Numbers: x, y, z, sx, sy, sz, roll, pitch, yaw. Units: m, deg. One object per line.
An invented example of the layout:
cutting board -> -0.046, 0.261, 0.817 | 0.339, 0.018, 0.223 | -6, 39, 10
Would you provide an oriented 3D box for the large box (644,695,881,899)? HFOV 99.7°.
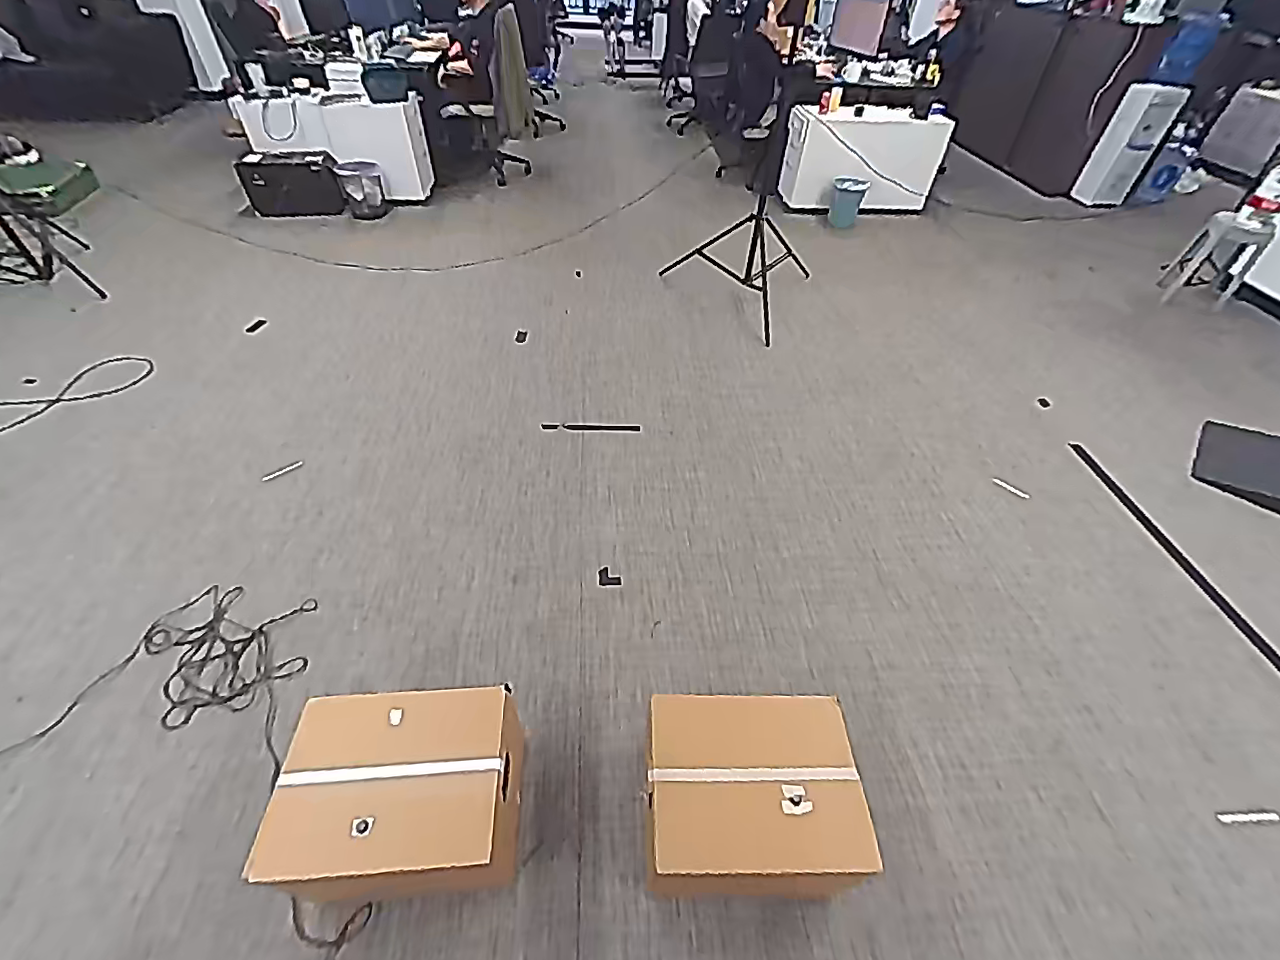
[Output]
large box -> 0.221, 0.678, 1.160 | 0.408, 0.320, 0.320 | 2, 46, -3
